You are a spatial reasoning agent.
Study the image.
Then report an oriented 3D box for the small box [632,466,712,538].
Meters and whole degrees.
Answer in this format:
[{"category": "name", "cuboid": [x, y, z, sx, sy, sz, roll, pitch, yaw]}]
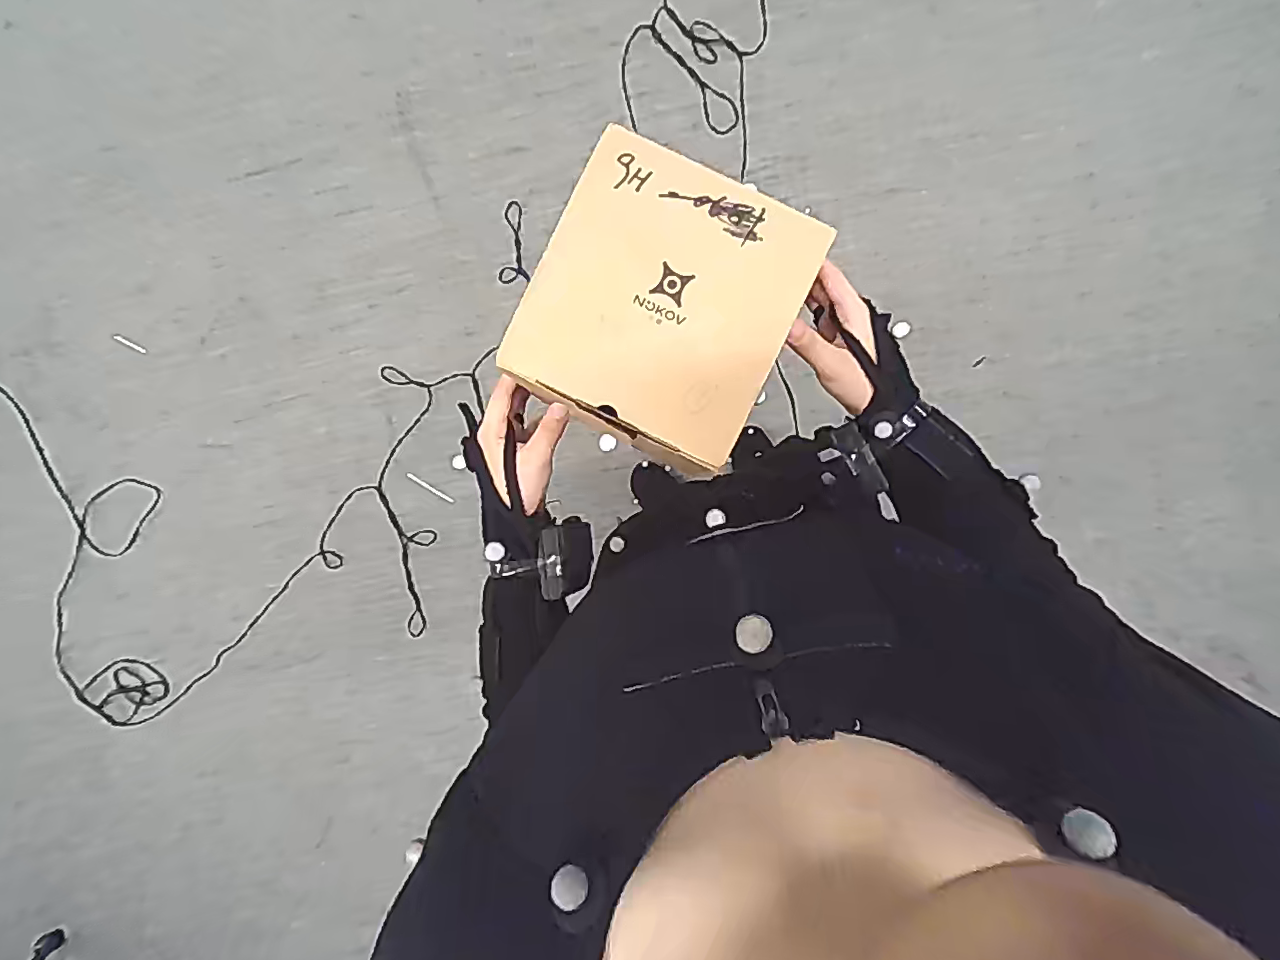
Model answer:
[{"category": "small box", "cuboid": [0.080, 0.052, 1.324, 0.179, 0.176, 0.168, 0, 90, 14]}]
